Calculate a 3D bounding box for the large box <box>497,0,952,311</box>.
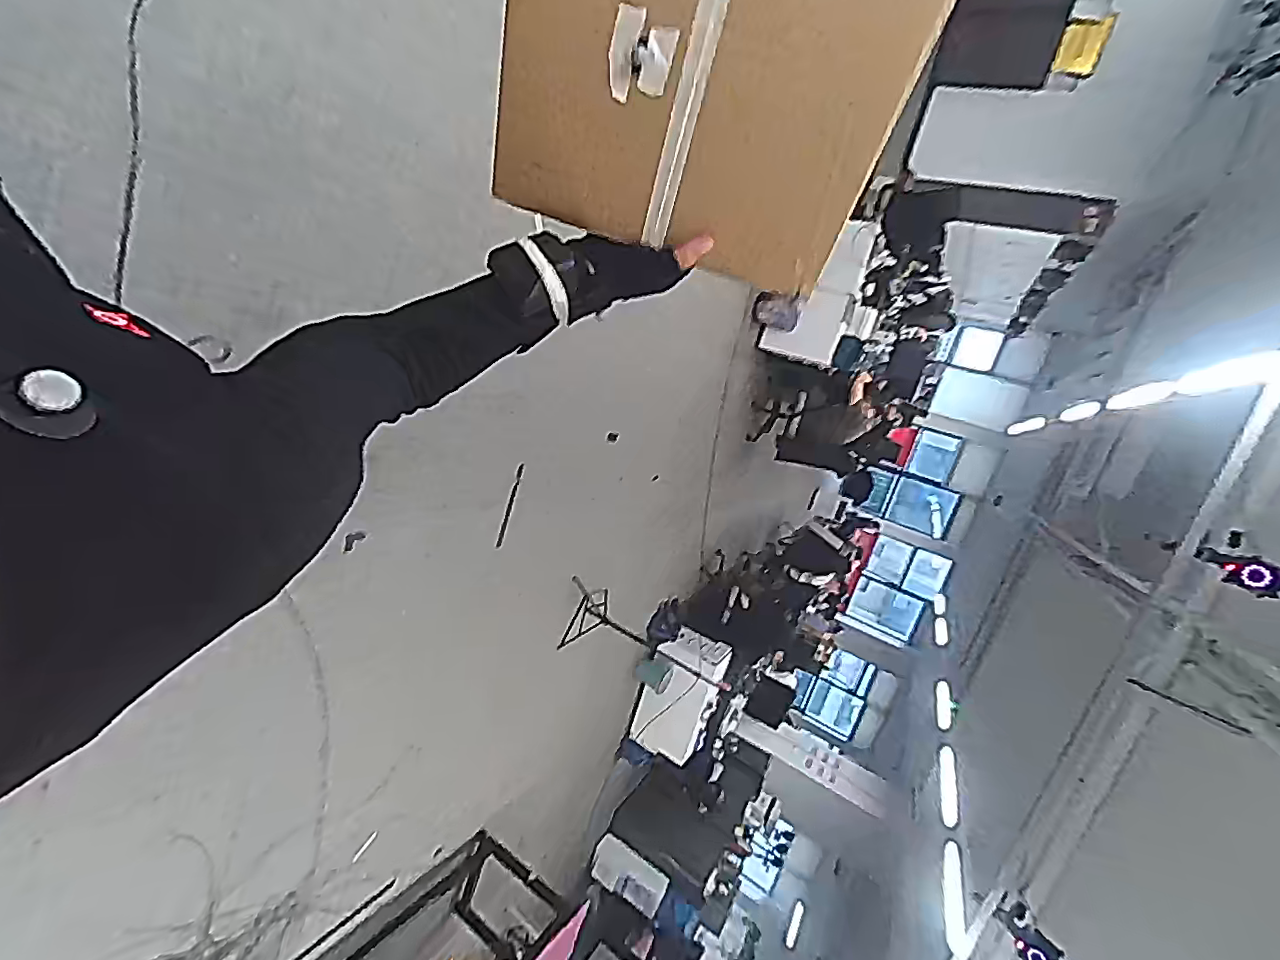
[{"bbox_3d":[0.087,-0.445,0.499,0.320,0.320,0.408,-71,-178,-49],"label":"large box"}]
